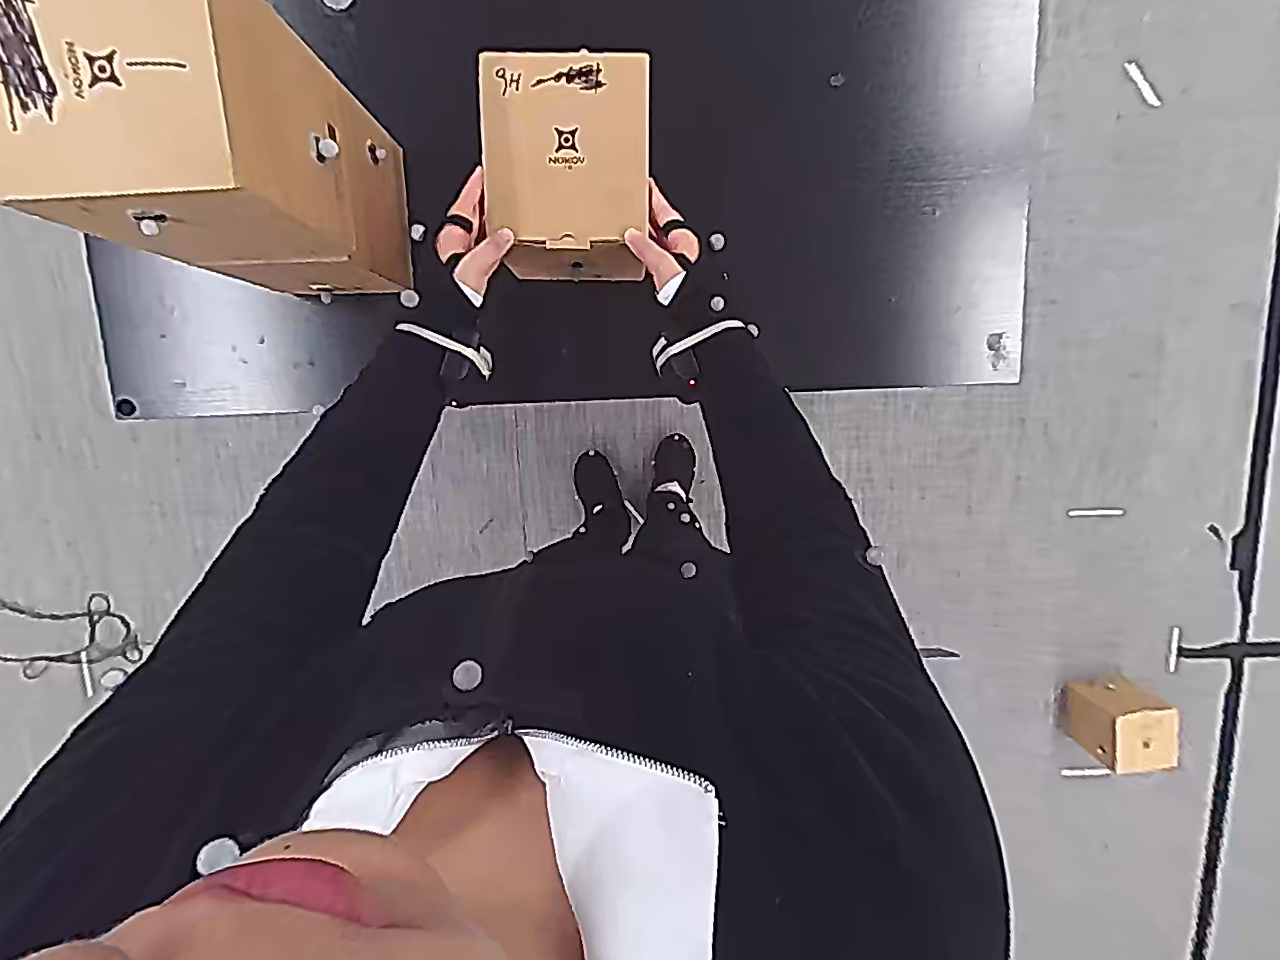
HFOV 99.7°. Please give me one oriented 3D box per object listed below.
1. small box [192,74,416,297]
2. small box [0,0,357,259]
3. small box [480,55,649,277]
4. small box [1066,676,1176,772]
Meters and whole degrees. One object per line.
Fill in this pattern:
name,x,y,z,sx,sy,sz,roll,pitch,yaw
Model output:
small box,-0.372,-0.315,0.611,0.168,0.176,0.179,-2,99,0
small box,-0.370,-0.291,0.448,0.179,0.176,0.168,-3,98,0
small box,-0.074,-0.335,0.612,0.168,0.176,0.179,0,98,-1
small box,1.335,0.677,1.513,0.168,0.176,0.179,-8,99,0
